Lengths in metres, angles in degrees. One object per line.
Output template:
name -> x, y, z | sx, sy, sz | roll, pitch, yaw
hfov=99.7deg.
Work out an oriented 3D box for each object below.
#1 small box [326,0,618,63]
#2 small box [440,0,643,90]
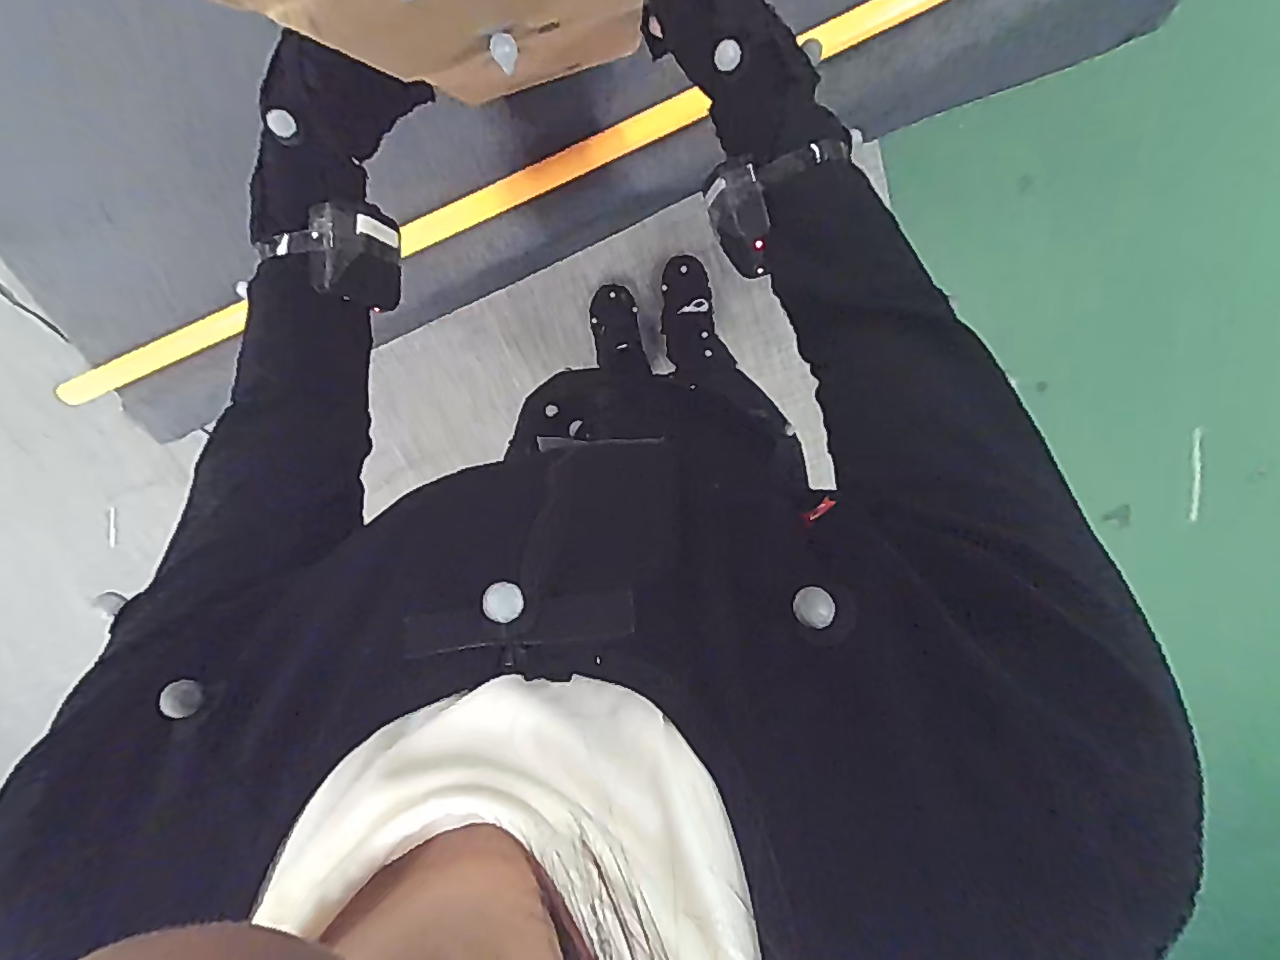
small box -> -0.096, -0.324, 0.239 | 0.168, 0.176, 0.179 | -13, 119, 6
small box -> -0.098, -0.409, 0.380 | 0.168, 0.176, 0.179 | -13, 119, 7
